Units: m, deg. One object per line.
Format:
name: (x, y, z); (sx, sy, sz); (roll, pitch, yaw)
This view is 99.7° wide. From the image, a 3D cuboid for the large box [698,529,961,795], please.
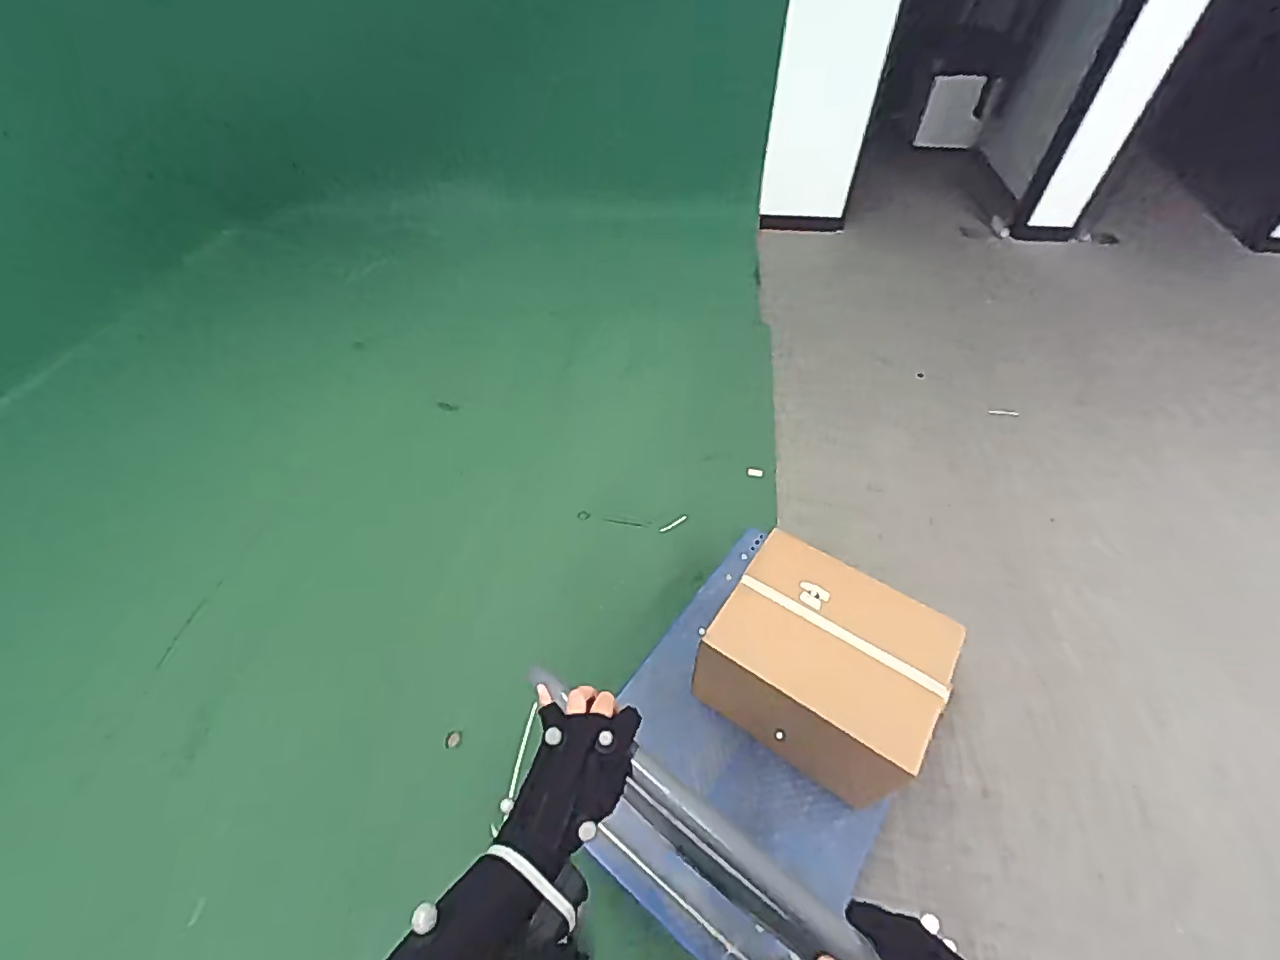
large box: (0.373, 0.378, 1.140); (0.408, 0.320, 0.320); (27, 55, 23)
